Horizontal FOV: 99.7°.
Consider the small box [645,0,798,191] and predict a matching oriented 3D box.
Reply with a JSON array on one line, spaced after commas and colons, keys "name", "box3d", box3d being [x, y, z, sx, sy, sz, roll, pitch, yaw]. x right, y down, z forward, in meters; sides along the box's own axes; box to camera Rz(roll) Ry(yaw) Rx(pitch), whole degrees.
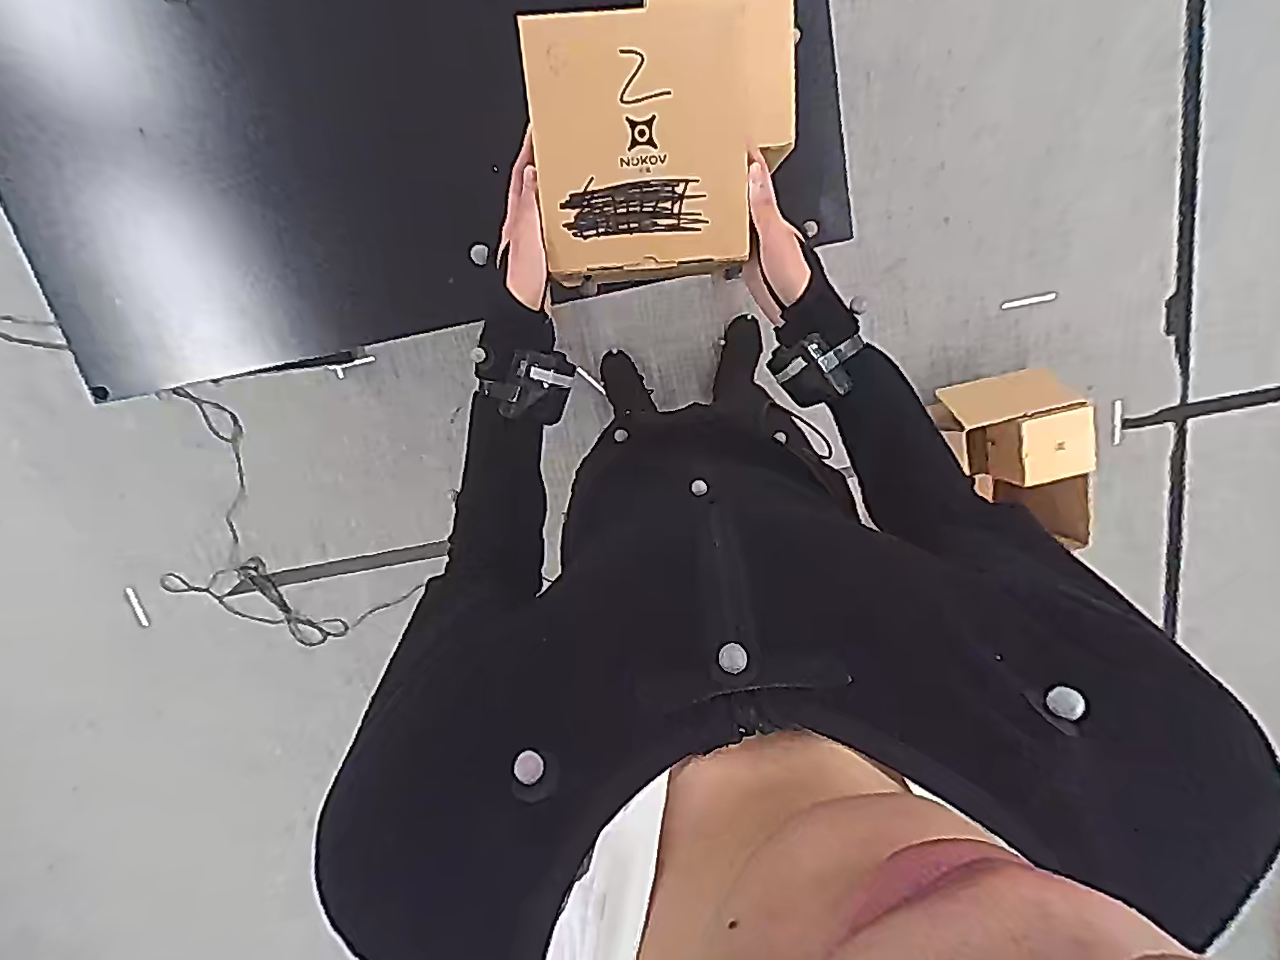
[{"name": "small box", "box3d": [0.094, -0.487, 0.683, 0.168, 0.176, 0.179, -4, 105, 1]}]
